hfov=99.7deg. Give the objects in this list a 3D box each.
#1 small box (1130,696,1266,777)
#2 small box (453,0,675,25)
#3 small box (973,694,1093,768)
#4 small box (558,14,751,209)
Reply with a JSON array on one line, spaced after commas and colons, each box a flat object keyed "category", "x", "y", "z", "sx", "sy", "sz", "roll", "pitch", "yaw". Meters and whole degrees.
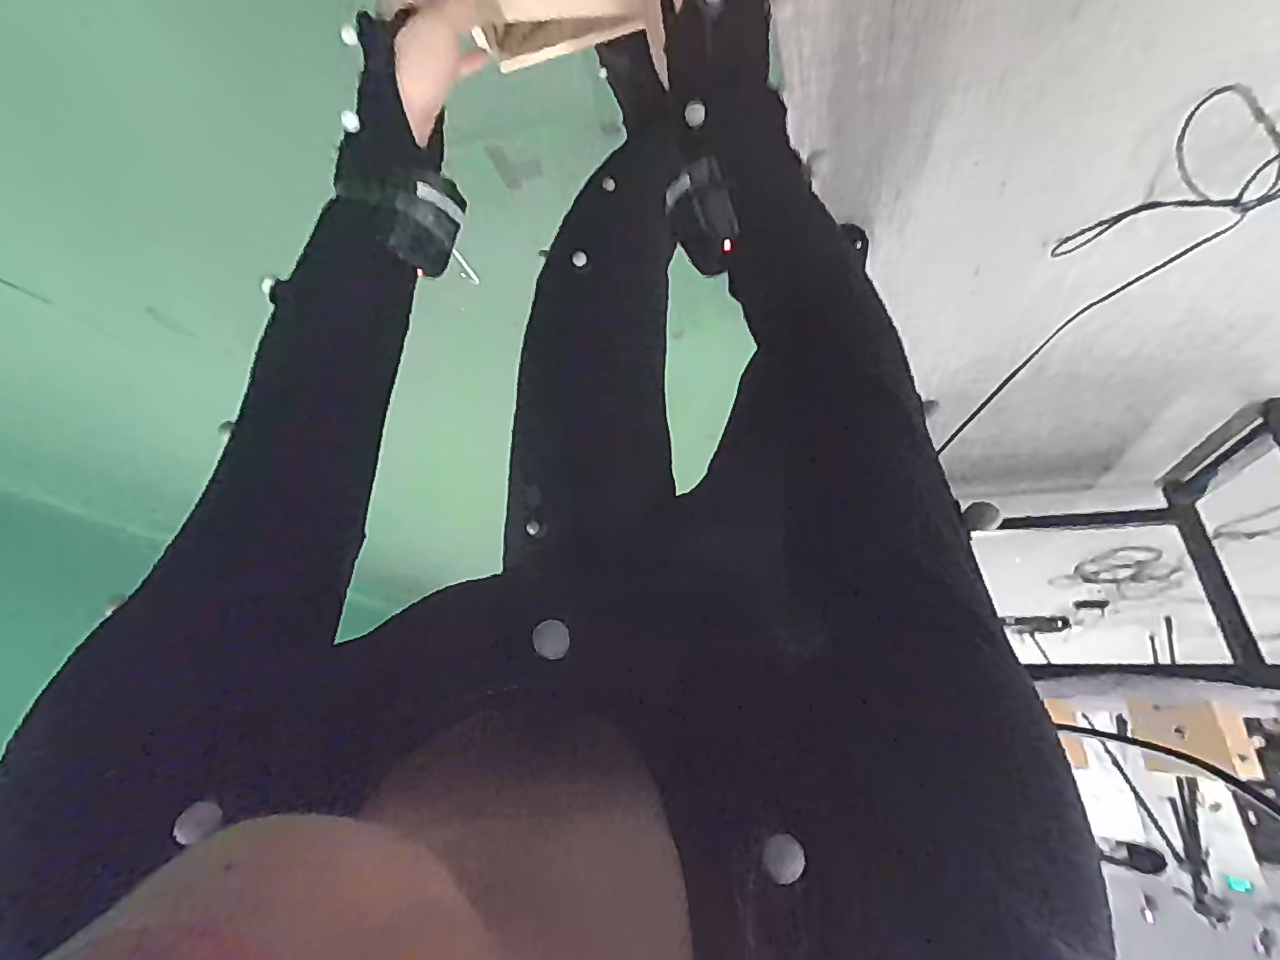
[{"category": "small box", "x": 1.343, "y": 0.619, "z": 1.311, "sx": 0.179, "sy": 0.176, "sz": 0.168, "roll": 16, "pitch": 152, "yaw": -27}, {"category": "small box", "x": -0.056, "y": -0.455, "z": 0.365, "sx": 0.168, "sy": 0.176, "sz": 0.179, "roll": 2, "pitch": 153, "yaw": 7}, {"category": "small box", "x": 1.019, "y": 0.659, "z": 1.421, "sx": 0.179, "sy": 0.176, "sz": 0.168, "roll": 6, "pitch": 154, "yaw": -10}, {"category": "small box", "x": 0.023, "y": -0.505, "z": 0.734, "sx": 0.176, "sy": 0.168, "sz": 0.179, "roll": -7, "pitch": 139, "yaw": -44}]
